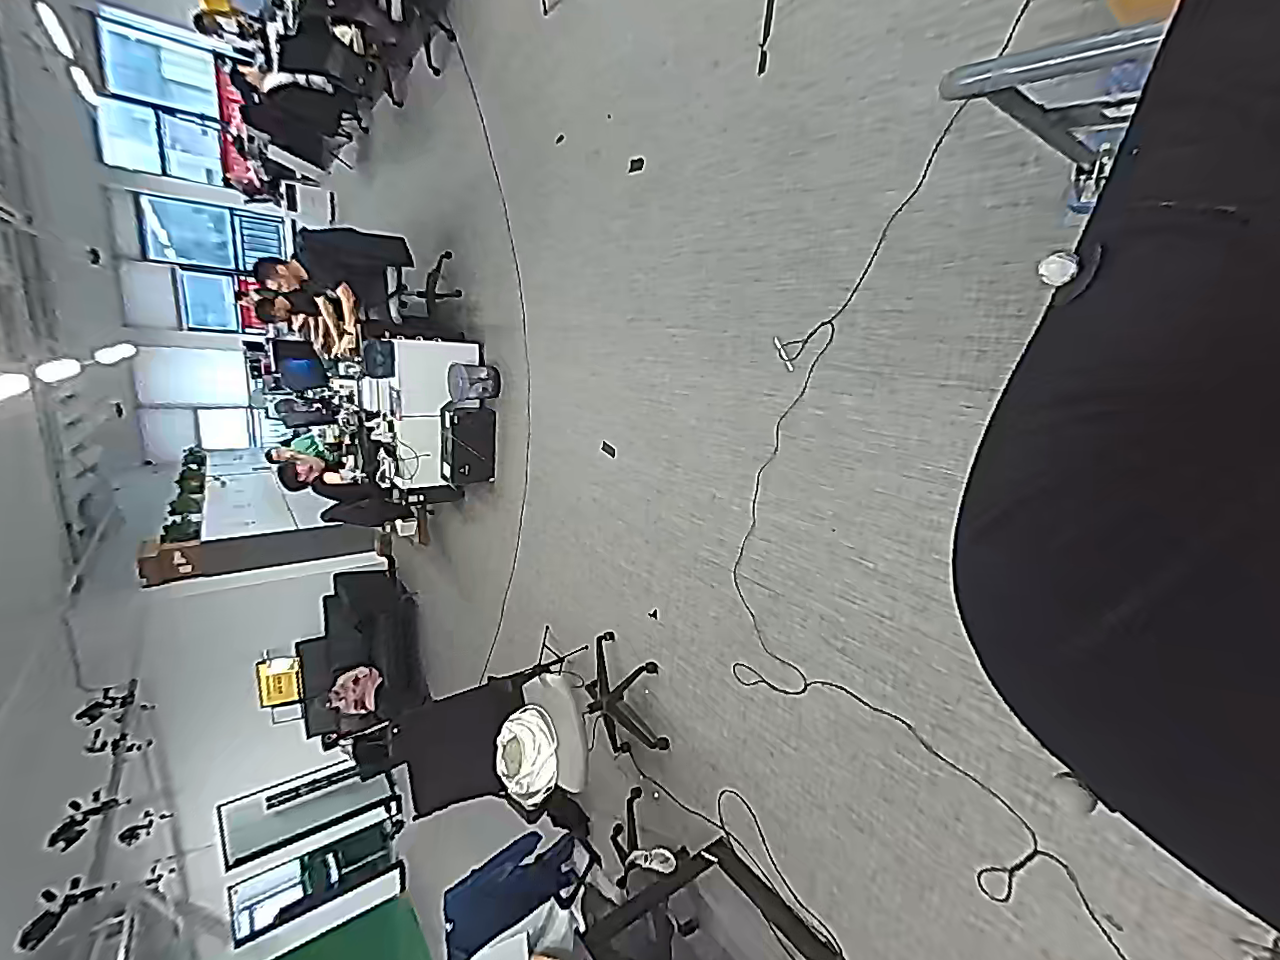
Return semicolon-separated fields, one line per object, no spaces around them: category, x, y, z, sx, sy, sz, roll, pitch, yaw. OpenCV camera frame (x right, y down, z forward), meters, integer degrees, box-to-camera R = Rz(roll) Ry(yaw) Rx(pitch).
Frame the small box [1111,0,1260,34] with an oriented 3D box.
small box;0.873;-0.838;0.842;0.179;0.176;0.168;30;118;44
